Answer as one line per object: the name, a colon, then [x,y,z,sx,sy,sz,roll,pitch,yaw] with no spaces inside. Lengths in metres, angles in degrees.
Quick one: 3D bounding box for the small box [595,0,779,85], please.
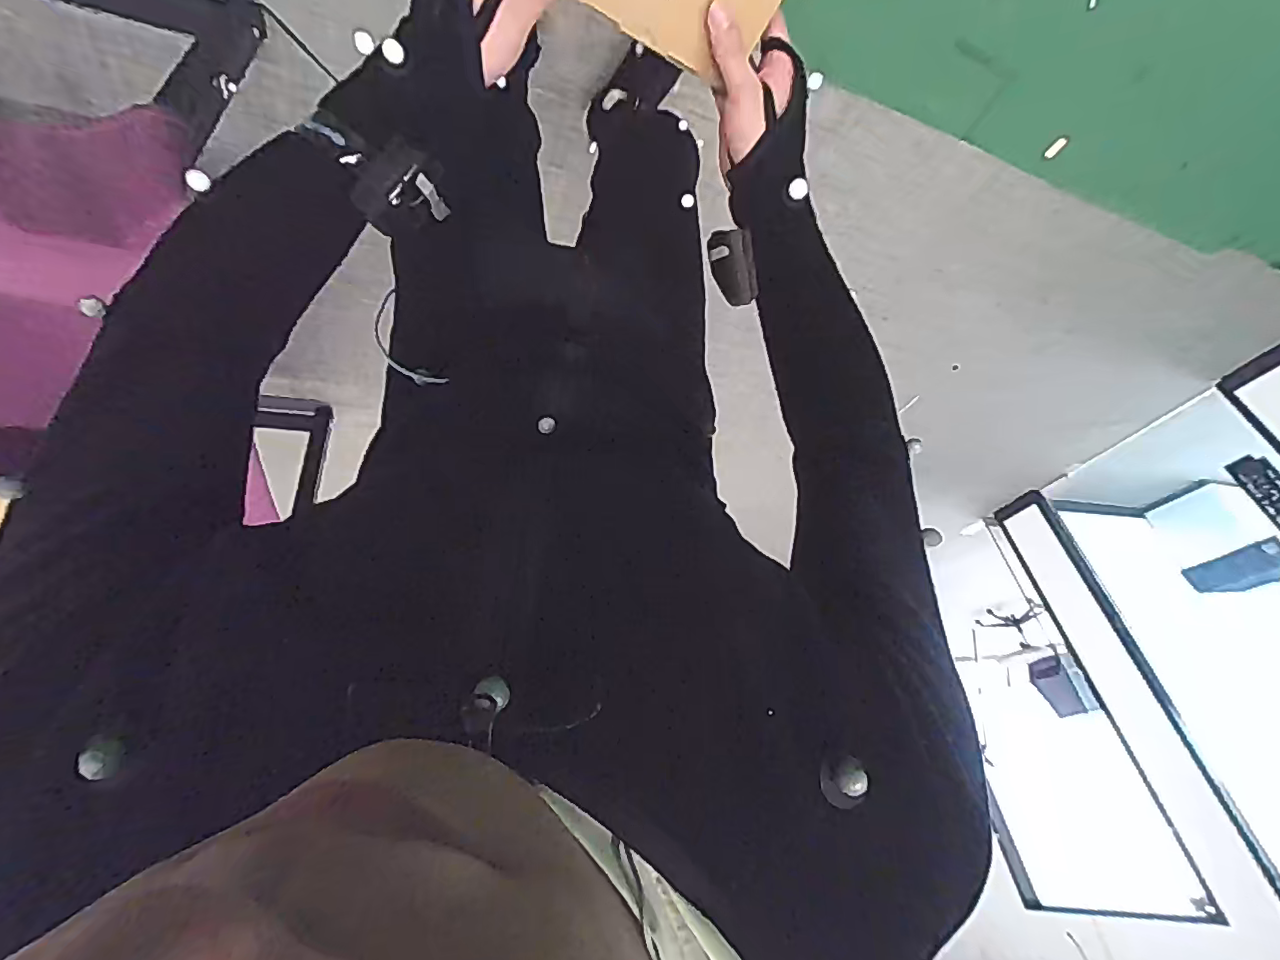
small box: [0.029,-0.448,0.389,0.168,0.176,0.179,7,143,-31]
